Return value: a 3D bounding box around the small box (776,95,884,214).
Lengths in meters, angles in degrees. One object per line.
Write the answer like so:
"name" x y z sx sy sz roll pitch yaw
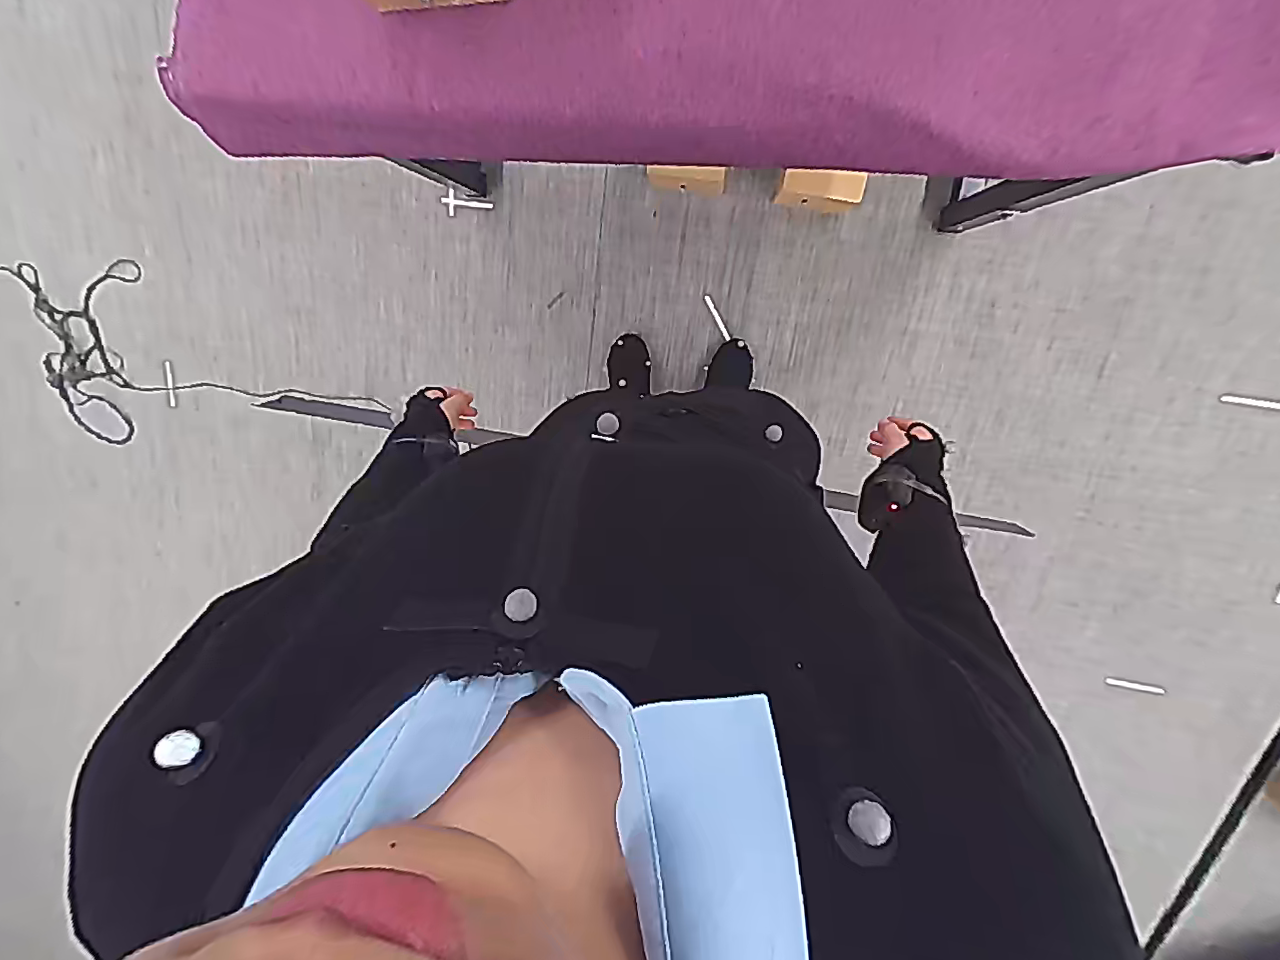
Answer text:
"small box" 0.399 -0.692 1.171 0.168 0.176 0.179 12 108 4

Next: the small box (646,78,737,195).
"small box" 0.115 -0.744 1.189 0.168 0.176 0.179 9 108 4
